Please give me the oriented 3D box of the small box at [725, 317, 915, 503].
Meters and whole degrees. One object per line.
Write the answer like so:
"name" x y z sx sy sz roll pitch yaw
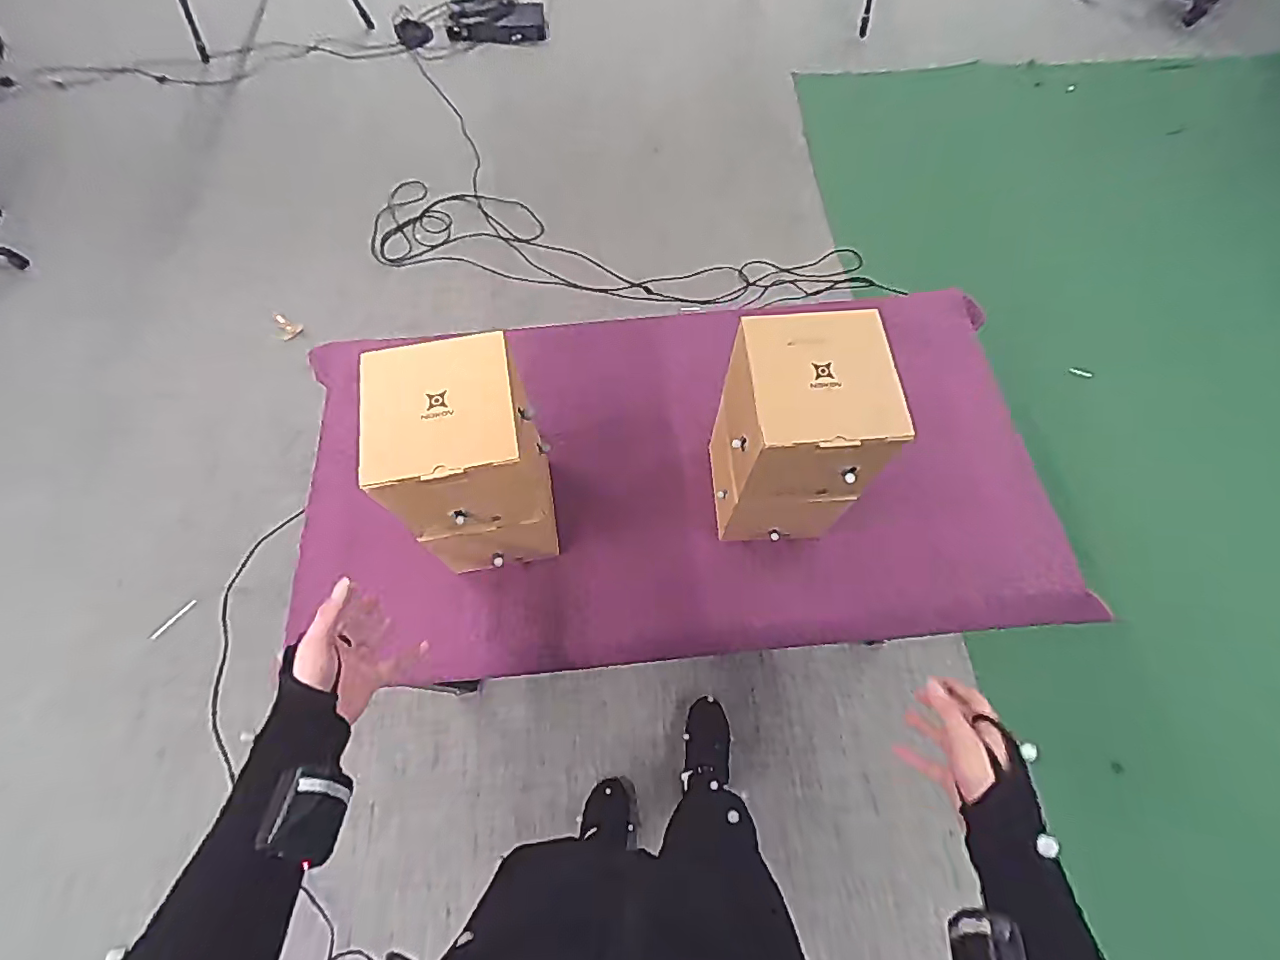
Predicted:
"small box" 0.204 -0.076 0.668 0.168 0.176 0.179 -2 65 -1

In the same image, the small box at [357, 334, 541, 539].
"small box" -0.220 -0.046 0.655 0.168 0.176 0.179 -10 66 -5

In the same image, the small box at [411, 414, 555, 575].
"small box" -0.224 0.026 0.801 0.168 0.176 0.179 -8 66 -4
